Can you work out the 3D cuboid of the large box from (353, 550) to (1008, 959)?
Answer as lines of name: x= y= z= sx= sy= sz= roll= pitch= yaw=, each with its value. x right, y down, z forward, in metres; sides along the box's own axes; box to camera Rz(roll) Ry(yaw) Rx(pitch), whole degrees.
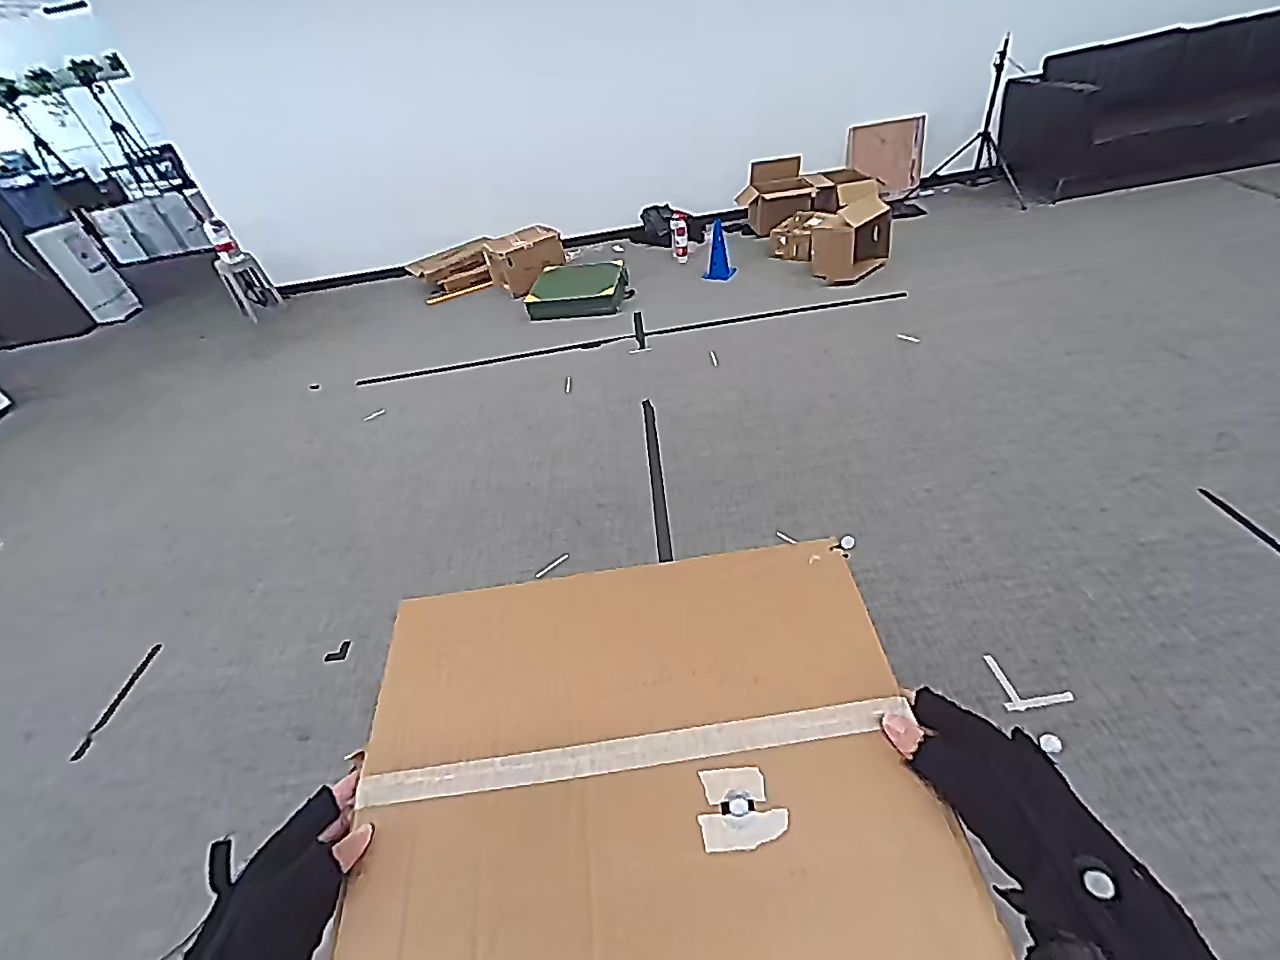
large box: x=0.015 y=0.306 z=0.516 sx=0.408 sy=0.320 sz=0.320 roll=-8 pitch=49 yaw=0
